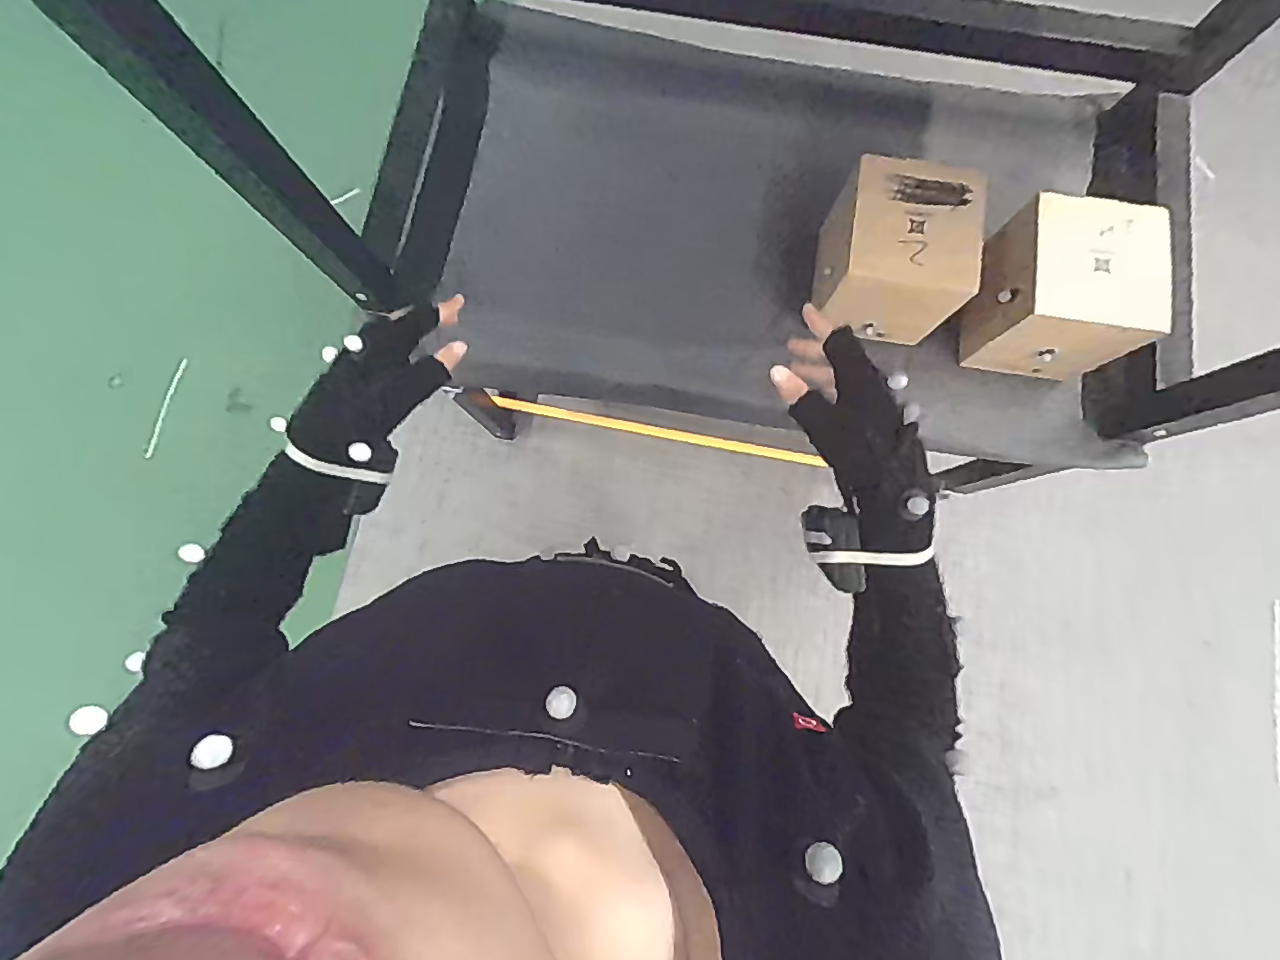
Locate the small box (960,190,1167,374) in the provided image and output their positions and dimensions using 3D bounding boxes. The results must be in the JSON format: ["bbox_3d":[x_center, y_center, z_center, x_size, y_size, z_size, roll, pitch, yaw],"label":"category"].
[{"bbox_3d":[0.579,-0.265,0.760,0.168,0.176,0.179,9,80,2],"label":"small box"}]
